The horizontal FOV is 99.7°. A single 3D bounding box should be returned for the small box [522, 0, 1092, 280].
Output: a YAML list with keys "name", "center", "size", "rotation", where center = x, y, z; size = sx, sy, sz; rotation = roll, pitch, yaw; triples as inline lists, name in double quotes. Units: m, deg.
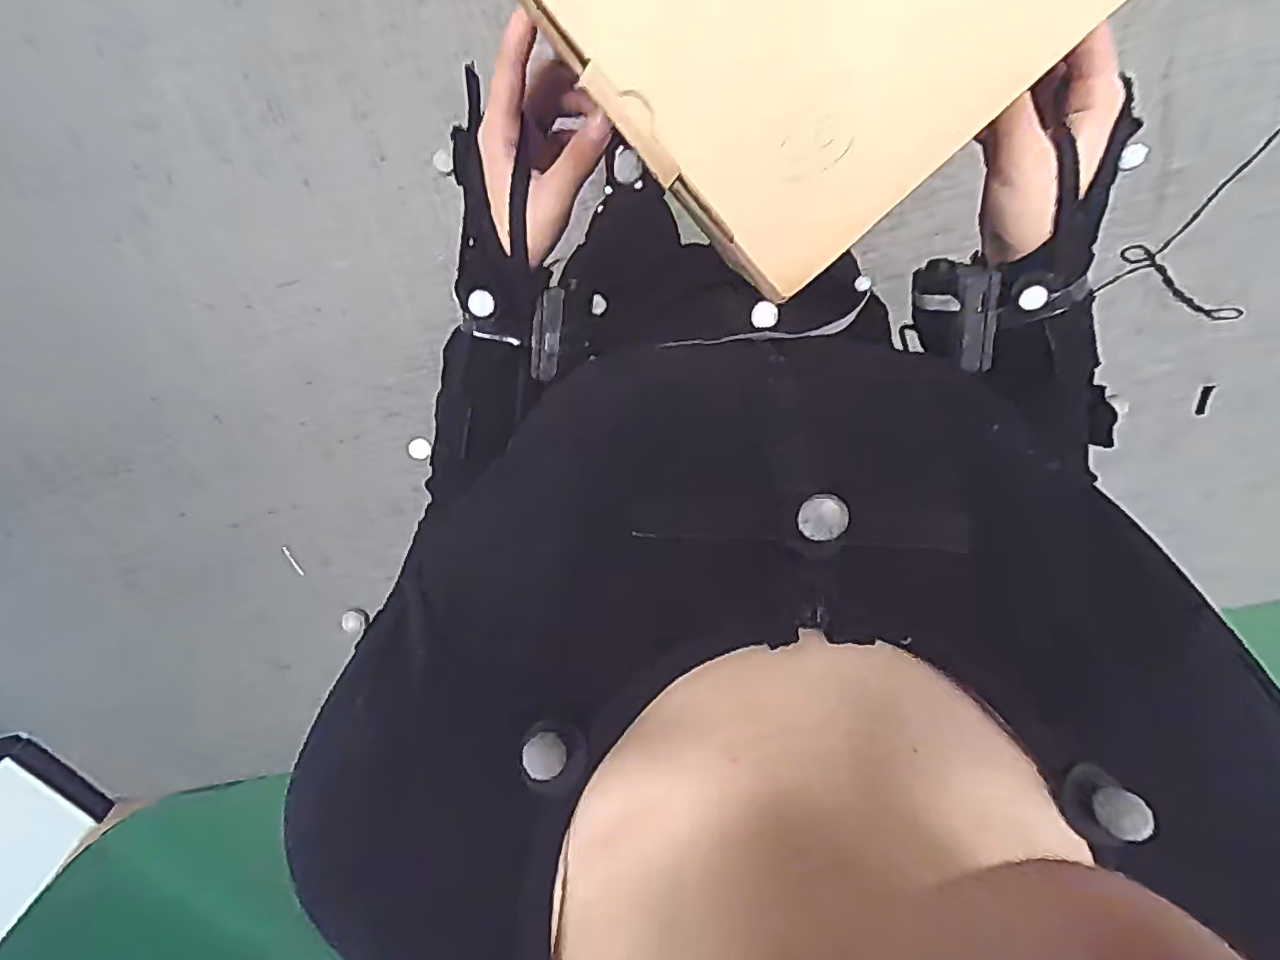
- name: "small box"
  center: [0.061, -0.212, 0.223]
  size: [0.179, 0.176, 0.168]
  rotation: [-39, 107, 20]
